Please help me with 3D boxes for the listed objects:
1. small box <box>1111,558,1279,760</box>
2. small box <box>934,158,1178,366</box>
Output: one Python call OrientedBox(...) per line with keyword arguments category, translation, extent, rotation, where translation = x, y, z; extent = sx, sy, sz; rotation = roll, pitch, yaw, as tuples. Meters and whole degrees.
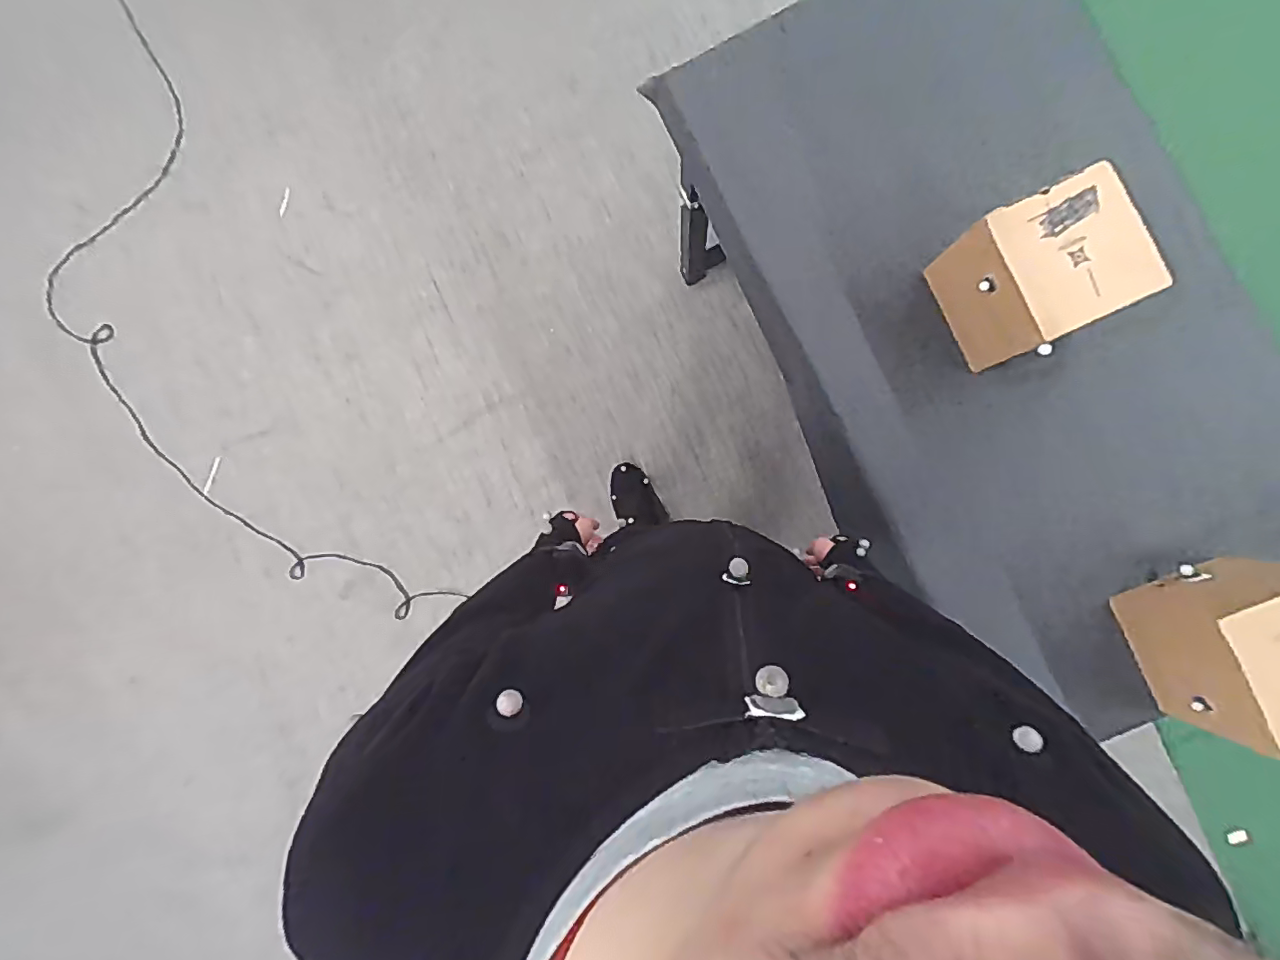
OrientedBox(category="small box", translation=(0.781, 0.215, 0.698), extent=(0.168, 0.176, 0.179), rotation=(-23, 86, 3))
OrientedBox(category="small box", translation=(0.537, -0.278, 0.730), extent=(0.168, 0.176, 0.179), rotation=(-24, 88, 4))
